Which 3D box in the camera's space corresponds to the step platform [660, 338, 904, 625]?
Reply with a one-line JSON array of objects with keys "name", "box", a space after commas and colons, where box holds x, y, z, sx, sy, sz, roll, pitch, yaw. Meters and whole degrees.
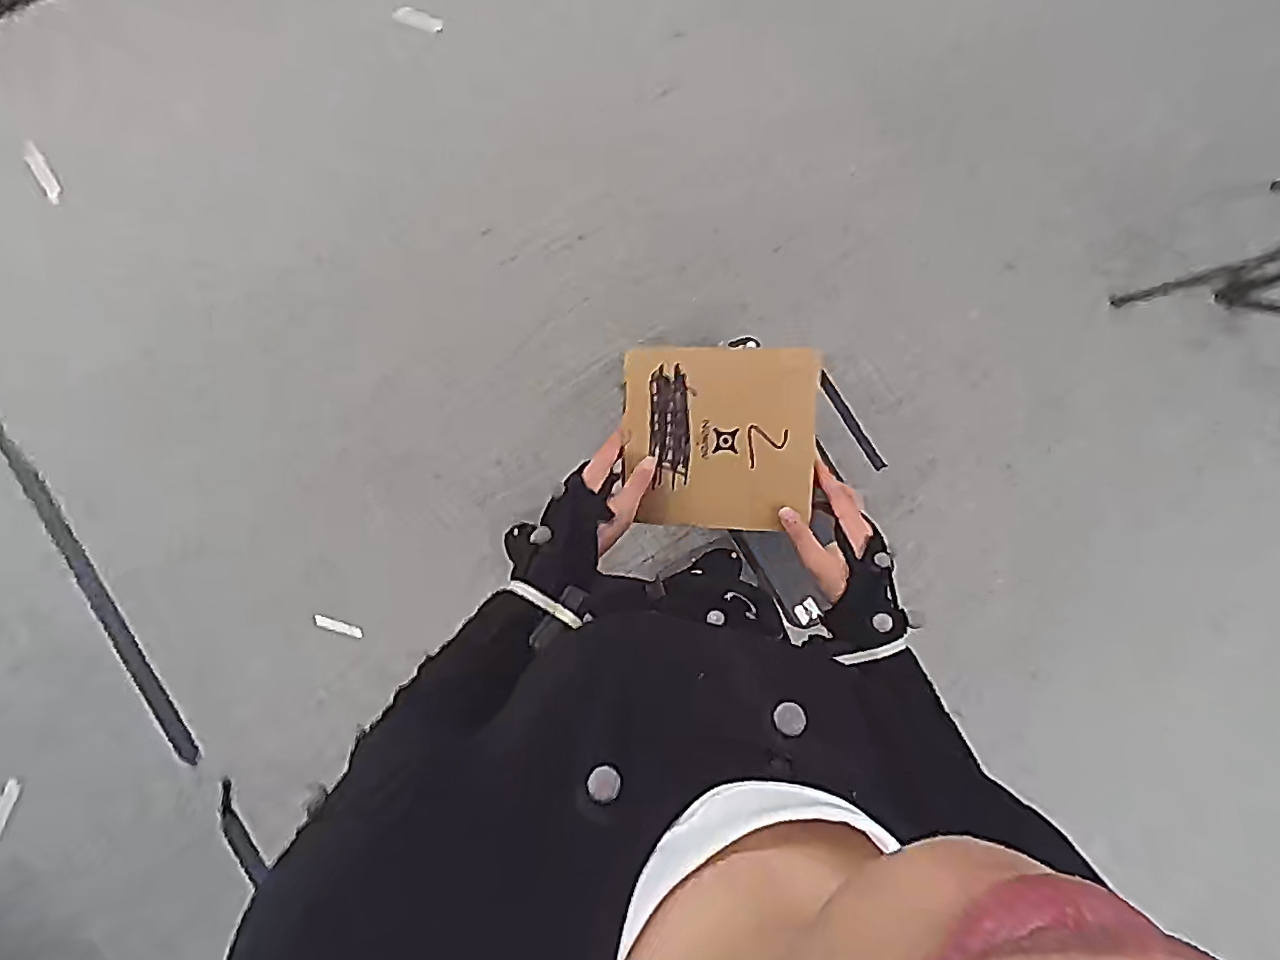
[{"name": "step platform", "box": [0.332, 0.004, 1.318, 0.286, 0.204, 0.684, -31, 88, -5]}]
